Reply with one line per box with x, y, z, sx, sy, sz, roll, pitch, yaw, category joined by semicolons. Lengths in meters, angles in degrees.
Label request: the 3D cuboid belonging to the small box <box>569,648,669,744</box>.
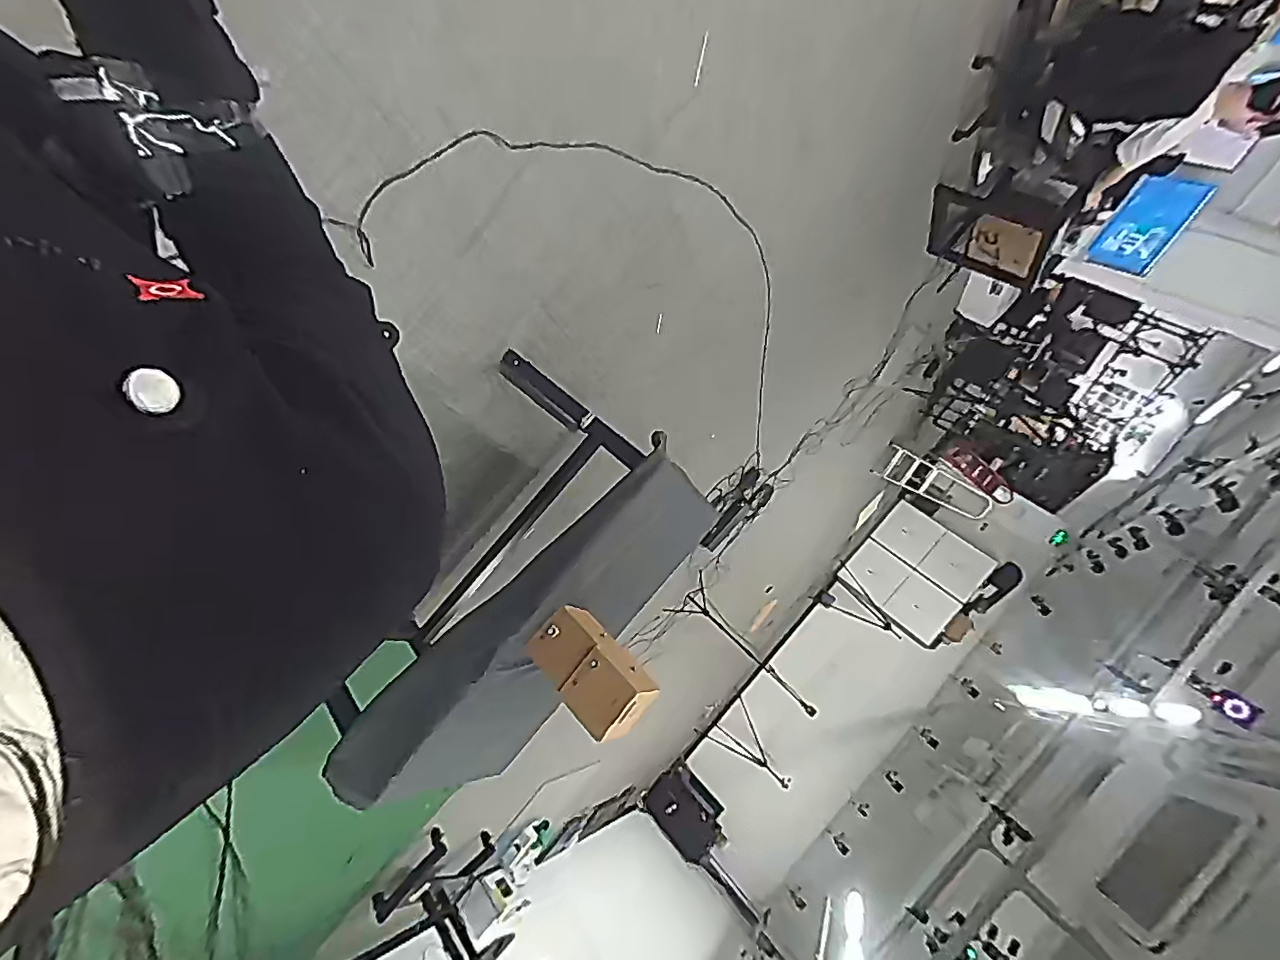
-0.058;0.564;1.439;0.168;0.176;0.179;-52;152;1;small box

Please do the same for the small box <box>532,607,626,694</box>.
-0.168;0.480;1.528;0.168;0.176;0.179;-51;150;-2;small box
